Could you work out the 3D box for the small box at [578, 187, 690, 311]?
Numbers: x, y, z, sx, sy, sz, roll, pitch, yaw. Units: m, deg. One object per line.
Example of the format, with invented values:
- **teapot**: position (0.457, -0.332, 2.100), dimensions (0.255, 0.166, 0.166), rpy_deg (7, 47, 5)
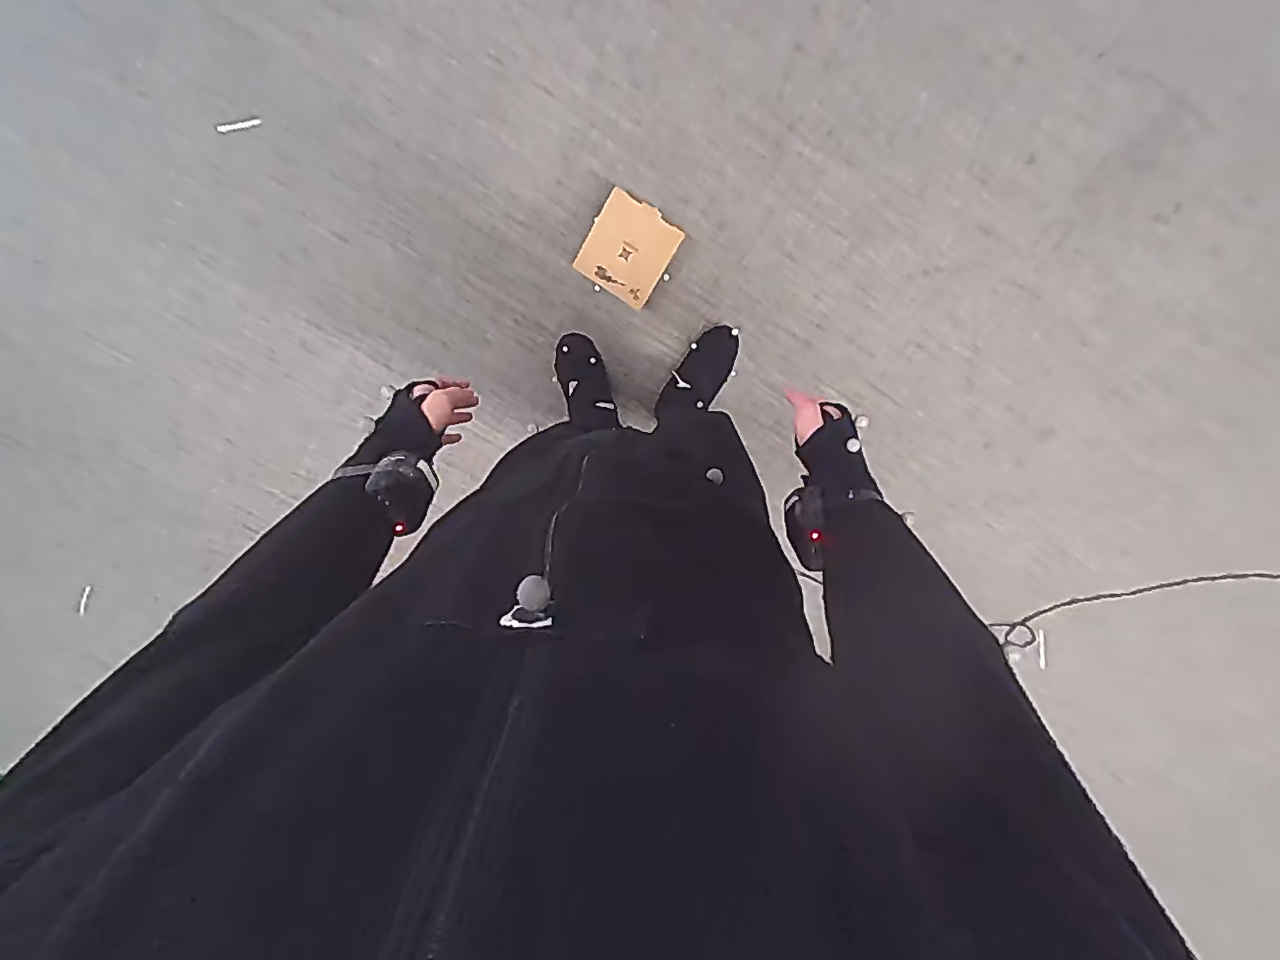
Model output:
- **small box**: position (-0.011, -0.486, 1.161), dimensions (0.168, 0.176, 0.179), rpy_deg (32, 107, -7)
